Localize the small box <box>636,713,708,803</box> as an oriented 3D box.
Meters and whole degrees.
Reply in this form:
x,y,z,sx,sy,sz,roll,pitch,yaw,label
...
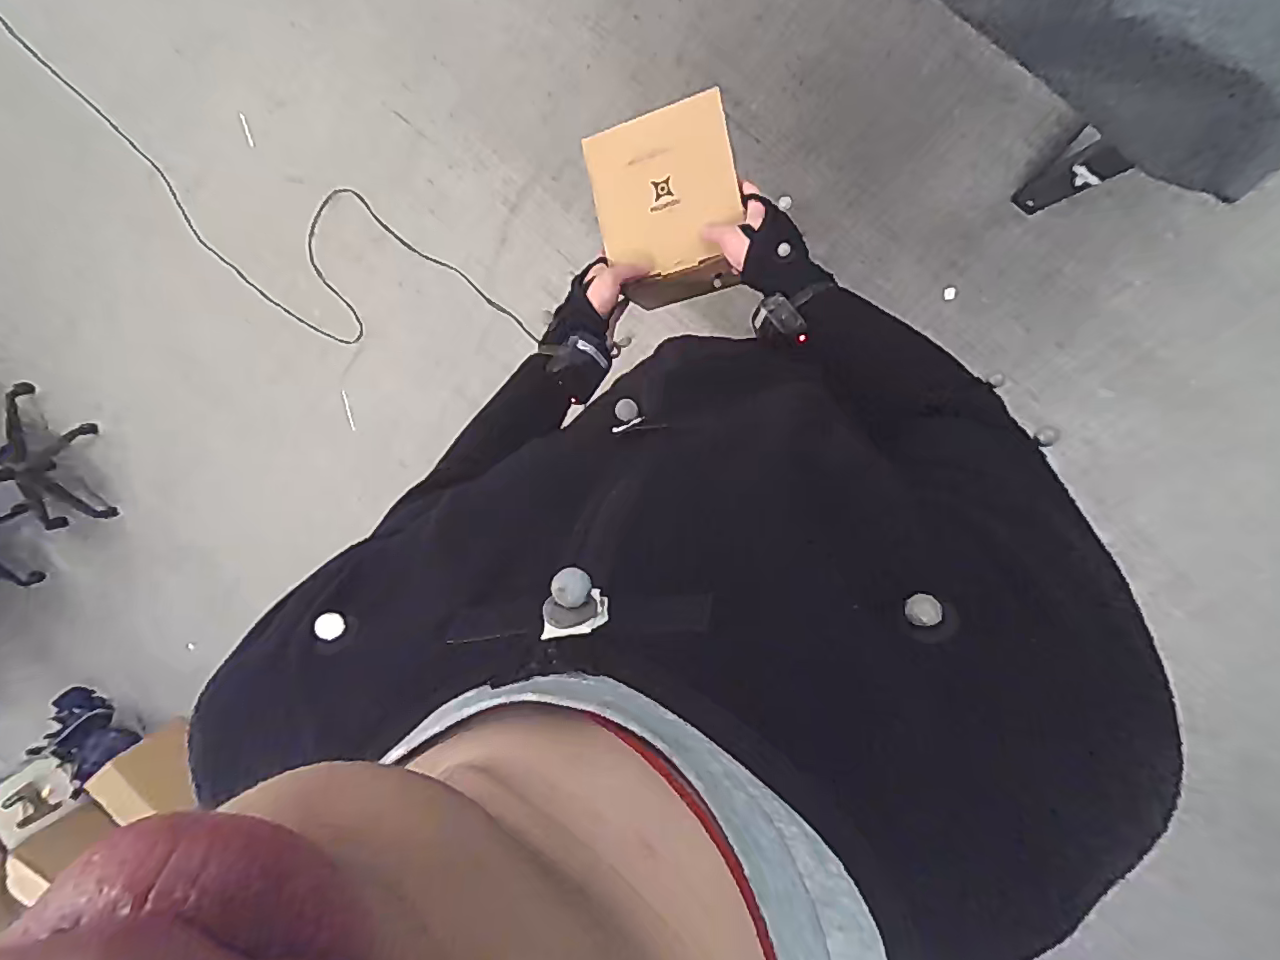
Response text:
x,y,z,sx,sy,sz,roll,pitch,yaw,label
0.115,0.930,1.824,0.168,0.176,0.179,38,113,2,small box

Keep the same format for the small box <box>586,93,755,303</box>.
x,y,z,sx,sy,sz,roll,pitch,yaw,label
0.051,-0.341,0.701,0.168,0.176,0.179,-12,94,15,small box
